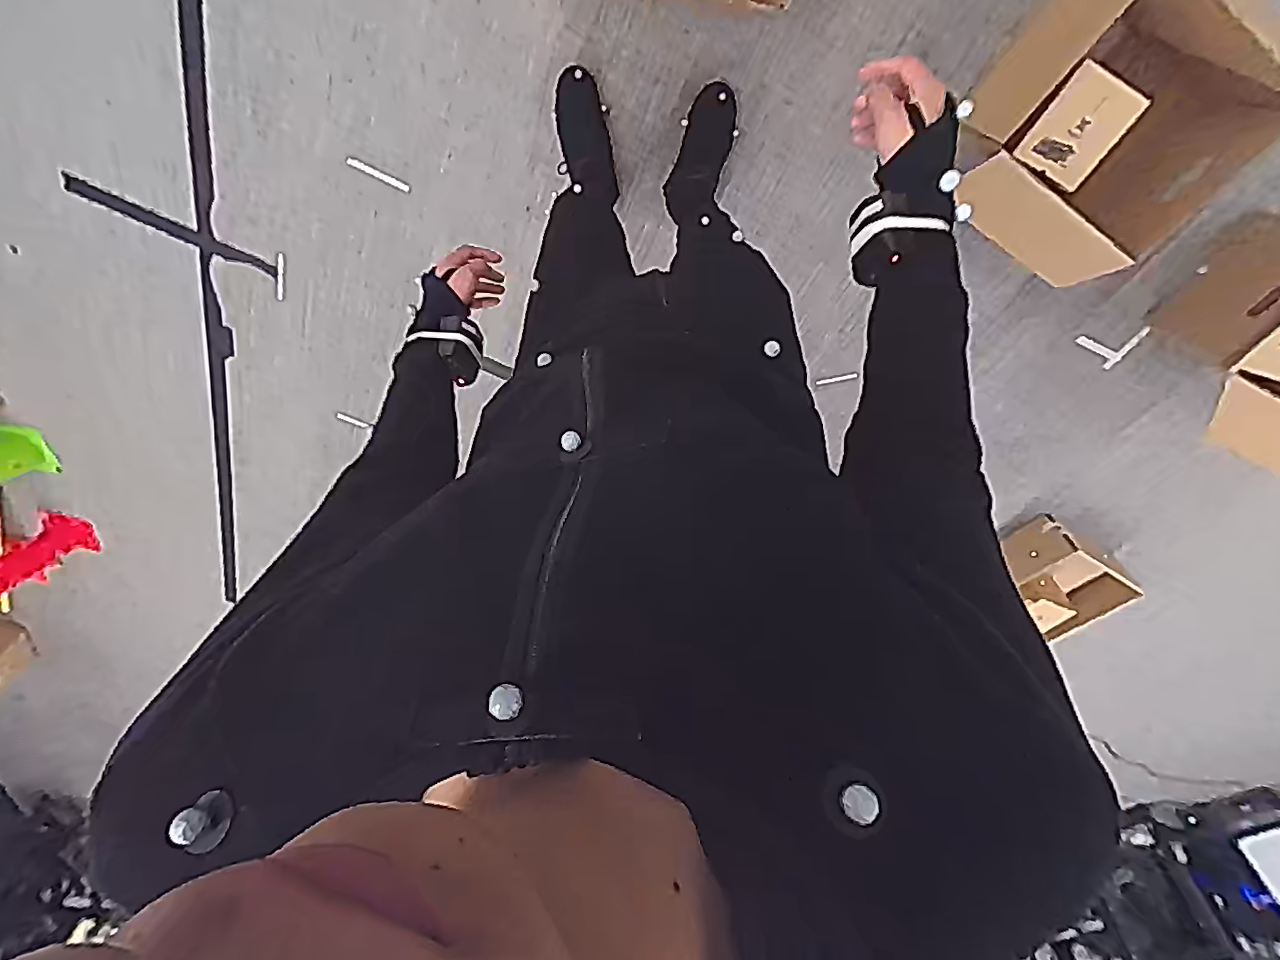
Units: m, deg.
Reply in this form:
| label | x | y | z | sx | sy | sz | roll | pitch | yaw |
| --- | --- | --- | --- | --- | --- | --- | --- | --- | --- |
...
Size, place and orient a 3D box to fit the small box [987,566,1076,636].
| label | x | y | z | sx | sy | sz | roll | pitch | yaw |
| --- | --- | --- | --- | --- | --- | --- | --- | --- | --- |
| small box | 1.434 | 0.442 | 1.995 | 0.179 | 0.176 | 0.168 | 22 | 128 | -14 |
